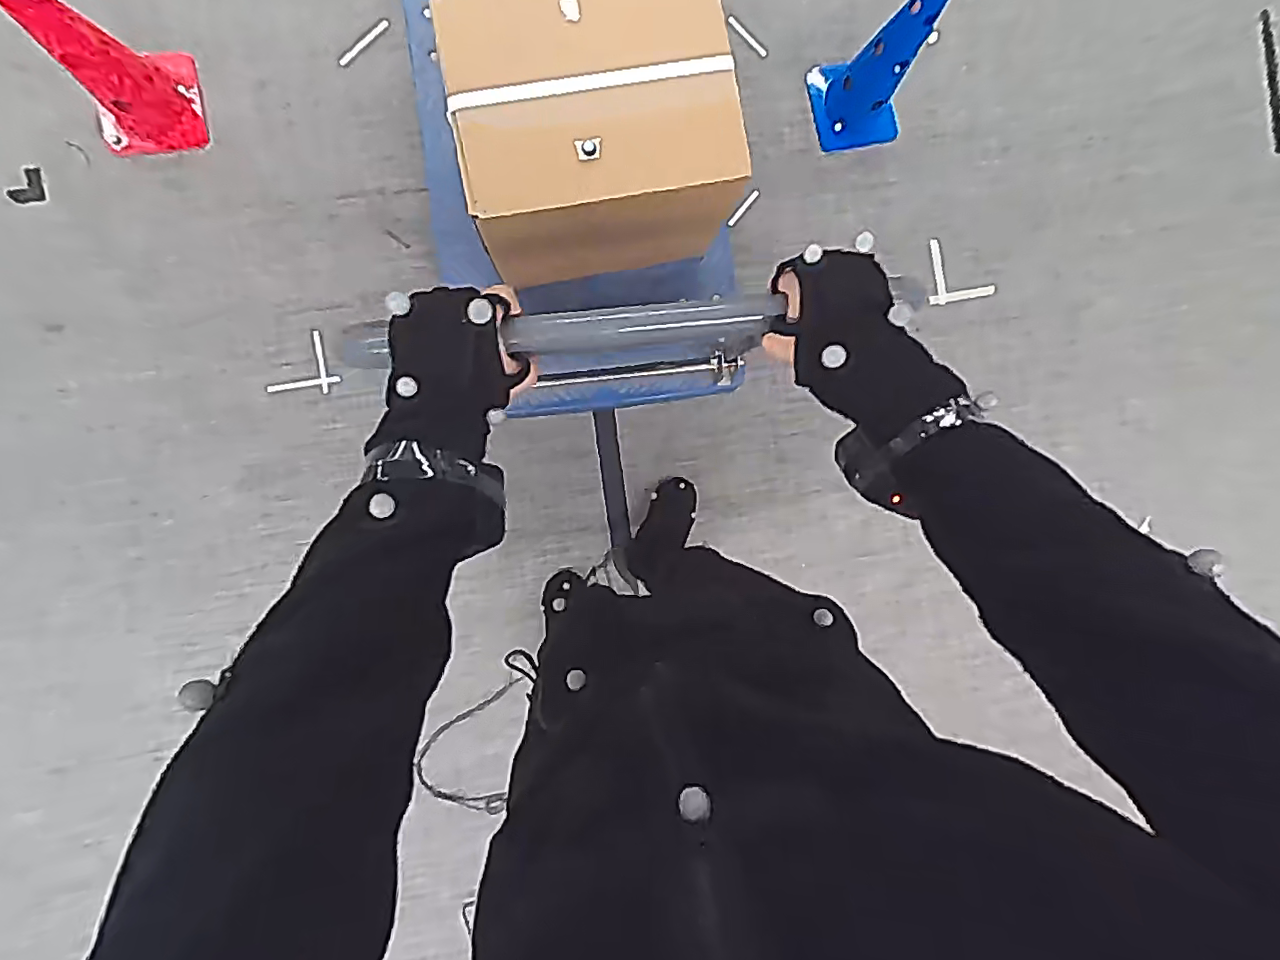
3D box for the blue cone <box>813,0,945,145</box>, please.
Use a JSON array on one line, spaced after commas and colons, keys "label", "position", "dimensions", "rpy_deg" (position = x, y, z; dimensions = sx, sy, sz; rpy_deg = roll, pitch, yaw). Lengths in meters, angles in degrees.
[{"label": "blue cone", "position": [0.530, -0.894, 1.118], "dimensions": [0.193, 0.380, 0.192], "rpy_deg": [-12, 92, -6]}]
